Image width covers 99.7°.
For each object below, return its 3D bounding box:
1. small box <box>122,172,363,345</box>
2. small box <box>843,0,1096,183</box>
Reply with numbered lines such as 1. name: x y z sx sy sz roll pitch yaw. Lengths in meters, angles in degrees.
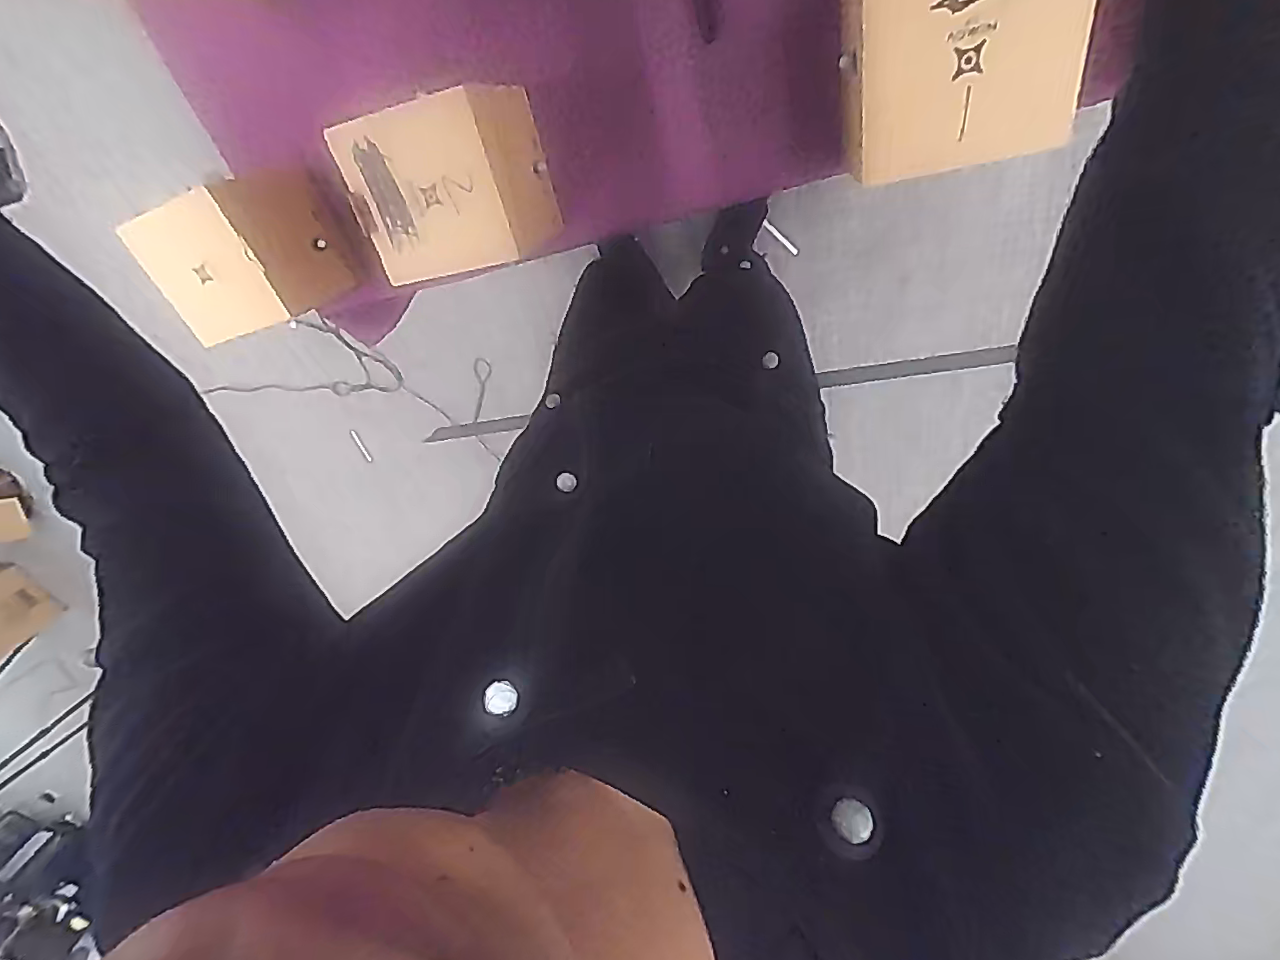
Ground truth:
1. small box: -0.539 -0.312 0.761 0.179 0.176 0.168 -10 122 19
2. small box: 0.280 -0.394 0.494 0.168 0.176 0.179 -4 125 17
